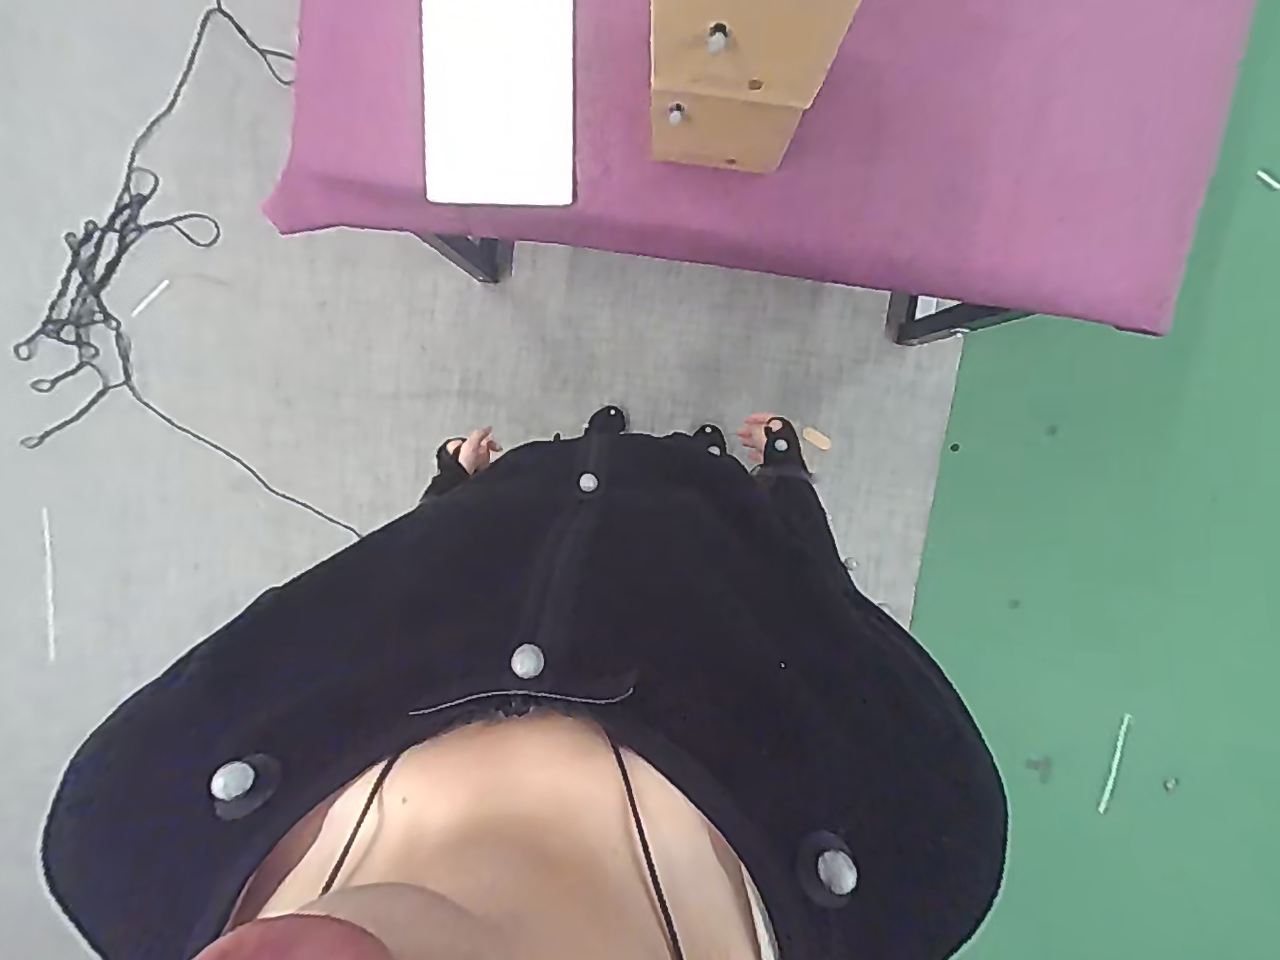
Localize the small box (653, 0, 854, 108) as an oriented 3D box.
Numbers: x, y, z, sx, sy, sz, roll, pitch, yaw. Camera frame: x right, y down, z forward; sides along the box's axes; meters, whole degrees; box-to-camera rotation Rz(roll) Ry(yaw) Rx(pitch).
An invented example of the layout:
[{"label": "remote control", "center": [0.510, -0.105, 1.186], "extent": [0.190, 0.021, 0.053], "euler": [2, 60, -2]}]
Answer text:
[{"label": "small box", "center": [0.105, -0.469, 0.473], "extent": [0.168, 0.176, 0.179], "euler": [9, 95, 1]}]
